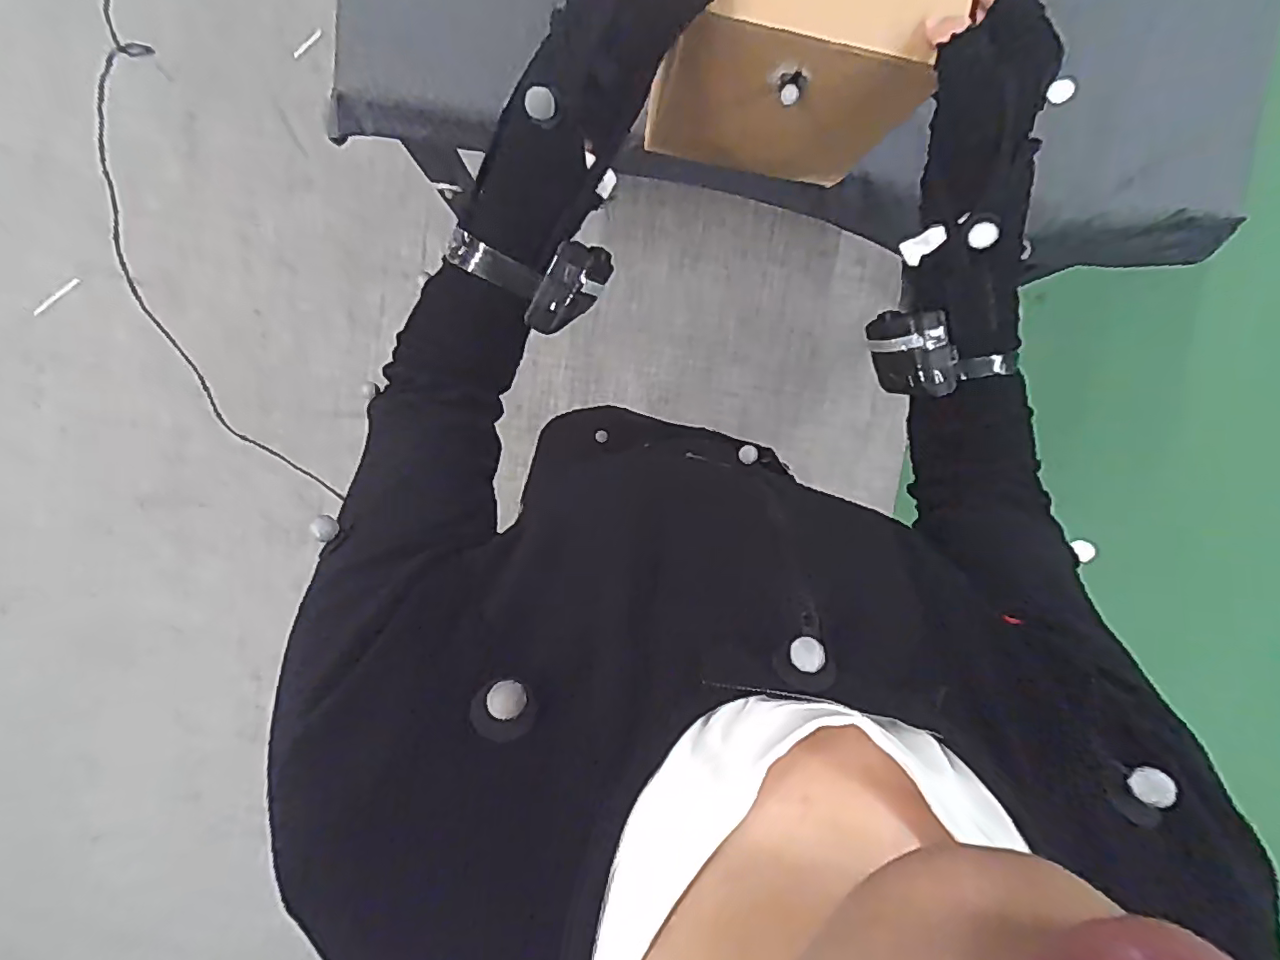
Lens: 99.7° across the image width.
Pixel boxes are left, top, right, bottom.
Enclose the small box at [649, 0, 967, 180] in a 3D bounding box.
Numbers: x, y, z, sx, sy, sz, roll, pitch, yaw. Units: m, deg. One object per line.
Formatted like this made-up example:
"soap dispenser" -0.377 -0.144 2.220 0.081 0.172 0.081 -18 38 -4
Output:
"small box" 0.109 -0.347 0.392 0.179 0.176 0.168 7 96 -9
